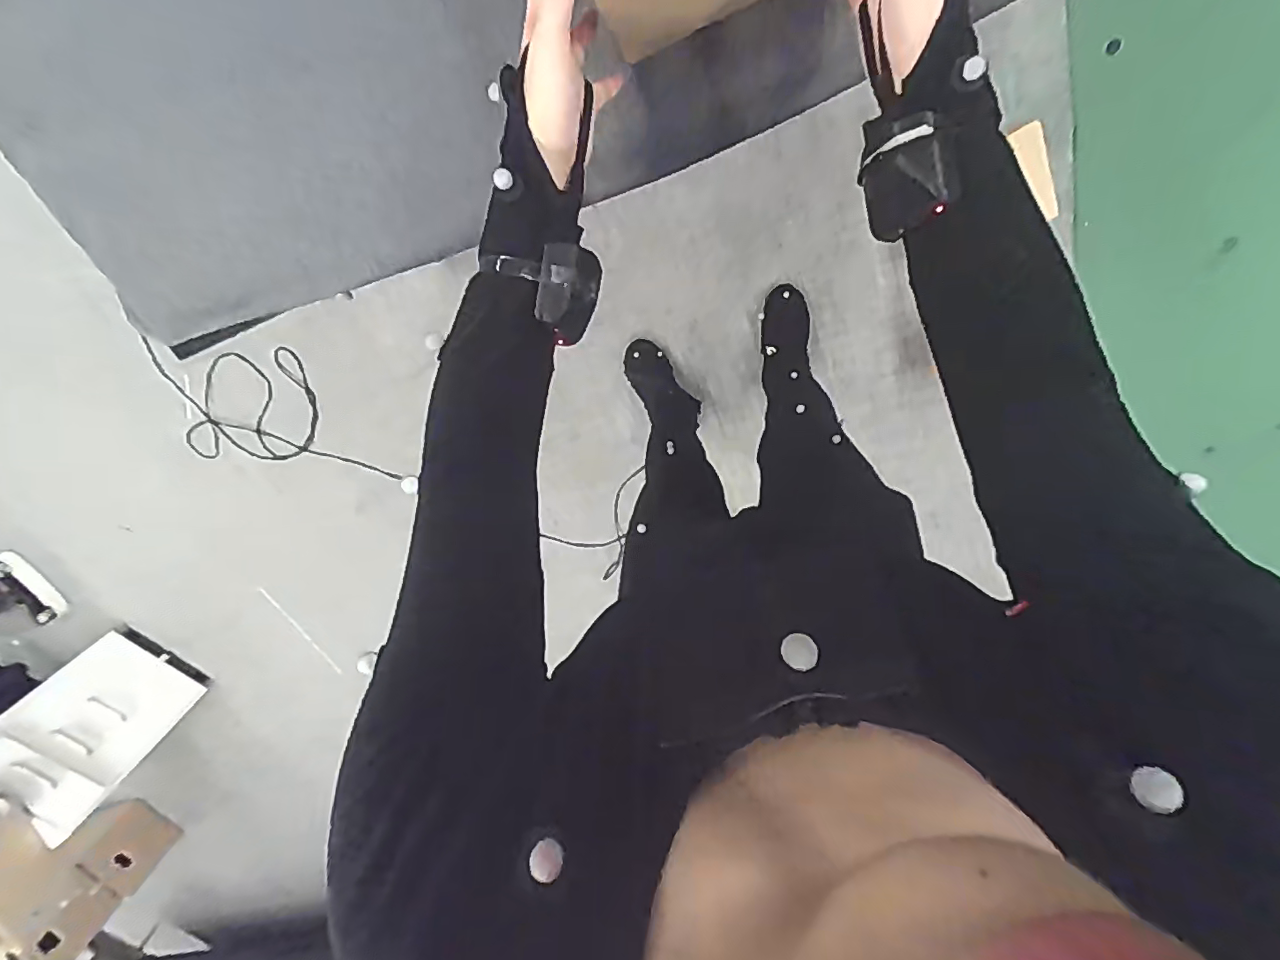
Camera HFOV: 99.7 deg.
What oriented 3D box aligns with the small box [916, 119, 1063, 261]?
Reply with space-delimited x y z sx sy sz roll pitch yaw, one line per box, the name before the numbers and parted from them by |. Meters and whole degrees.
small box | 0.659 -0.552 1.034 0.168 0.176 0.179 -24 114 19
